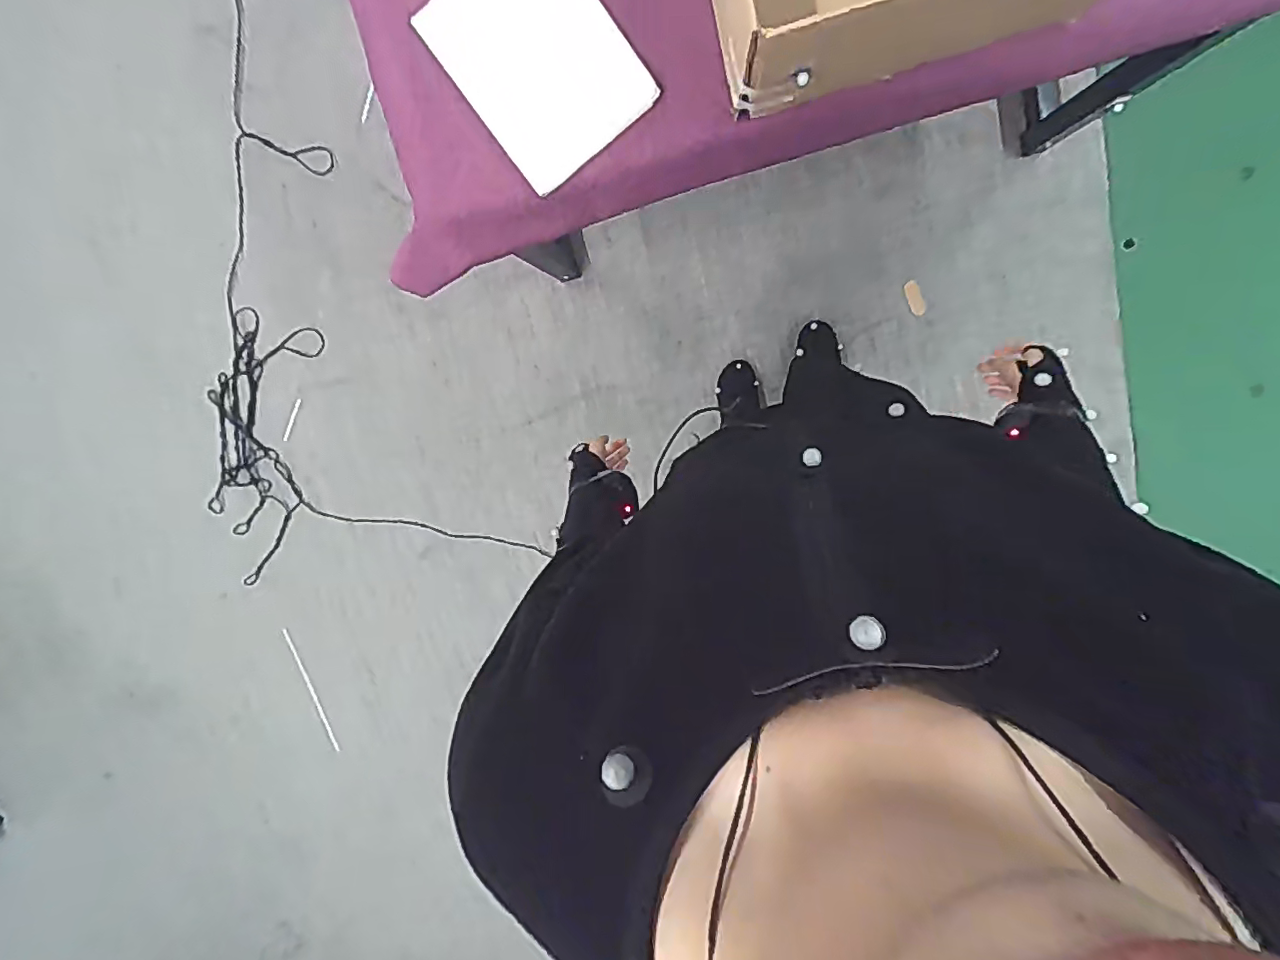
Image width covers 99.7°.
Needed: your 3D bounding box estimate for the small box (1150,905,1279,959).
[{"bbox_3d":[1.307,1.100,1.211,0.168,0.176,0.179,-22,98,11],"label":"small box"}]
